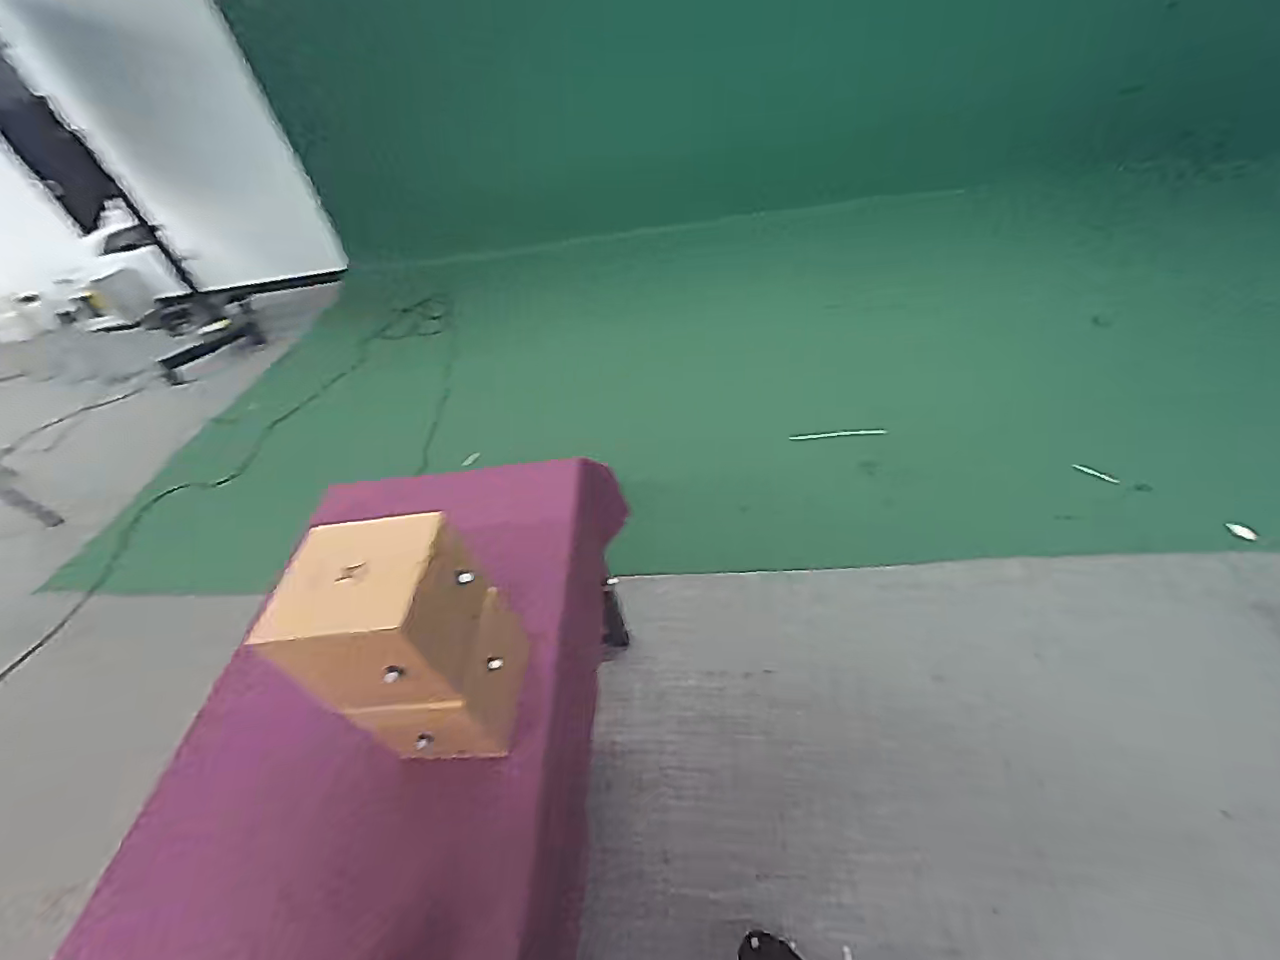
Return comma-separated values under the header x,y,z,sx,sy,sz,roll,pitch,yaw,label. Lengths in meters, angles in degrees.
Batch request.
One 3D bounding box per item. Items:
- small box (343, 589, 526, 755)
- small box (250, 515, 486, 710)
x,y,z,sx,sy,sz,roll,pitch,yaw,label
-0.277,0.281,0.778,0.168,0.176,0.179,-5,44,8,small box
-0.310,0.166,0.667,0.179,0.176,0.168,-7,43,7,small box
